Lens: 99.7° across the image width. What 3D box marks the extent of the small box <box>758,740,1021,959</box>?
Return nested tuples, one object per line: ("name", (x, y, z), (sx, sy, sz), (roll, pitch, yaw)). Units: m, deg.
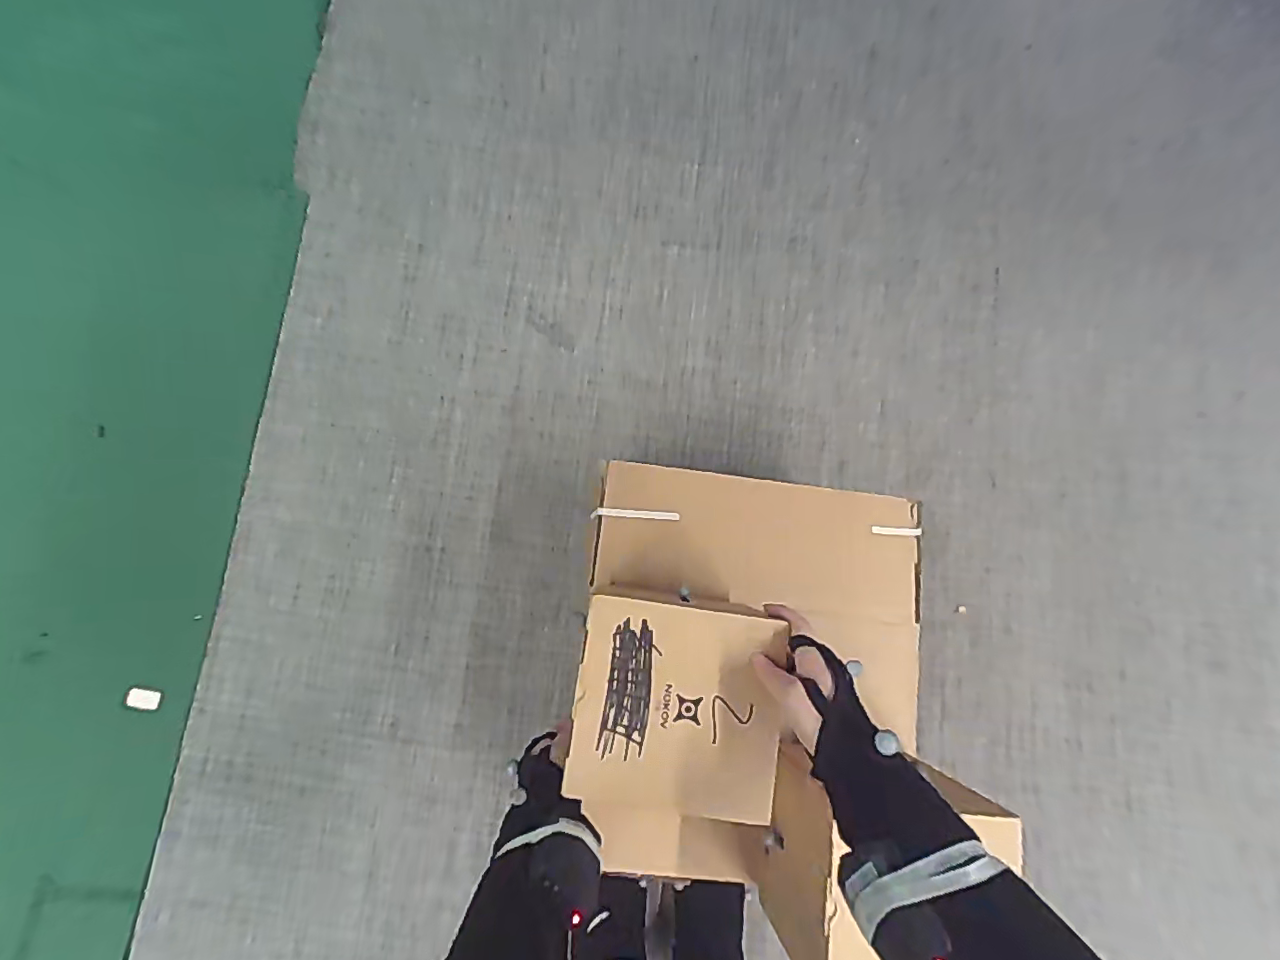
("small box", (0.232, 0.373, 0.534), (0.179, 0.176, 0.168), (8, 80, -3))
